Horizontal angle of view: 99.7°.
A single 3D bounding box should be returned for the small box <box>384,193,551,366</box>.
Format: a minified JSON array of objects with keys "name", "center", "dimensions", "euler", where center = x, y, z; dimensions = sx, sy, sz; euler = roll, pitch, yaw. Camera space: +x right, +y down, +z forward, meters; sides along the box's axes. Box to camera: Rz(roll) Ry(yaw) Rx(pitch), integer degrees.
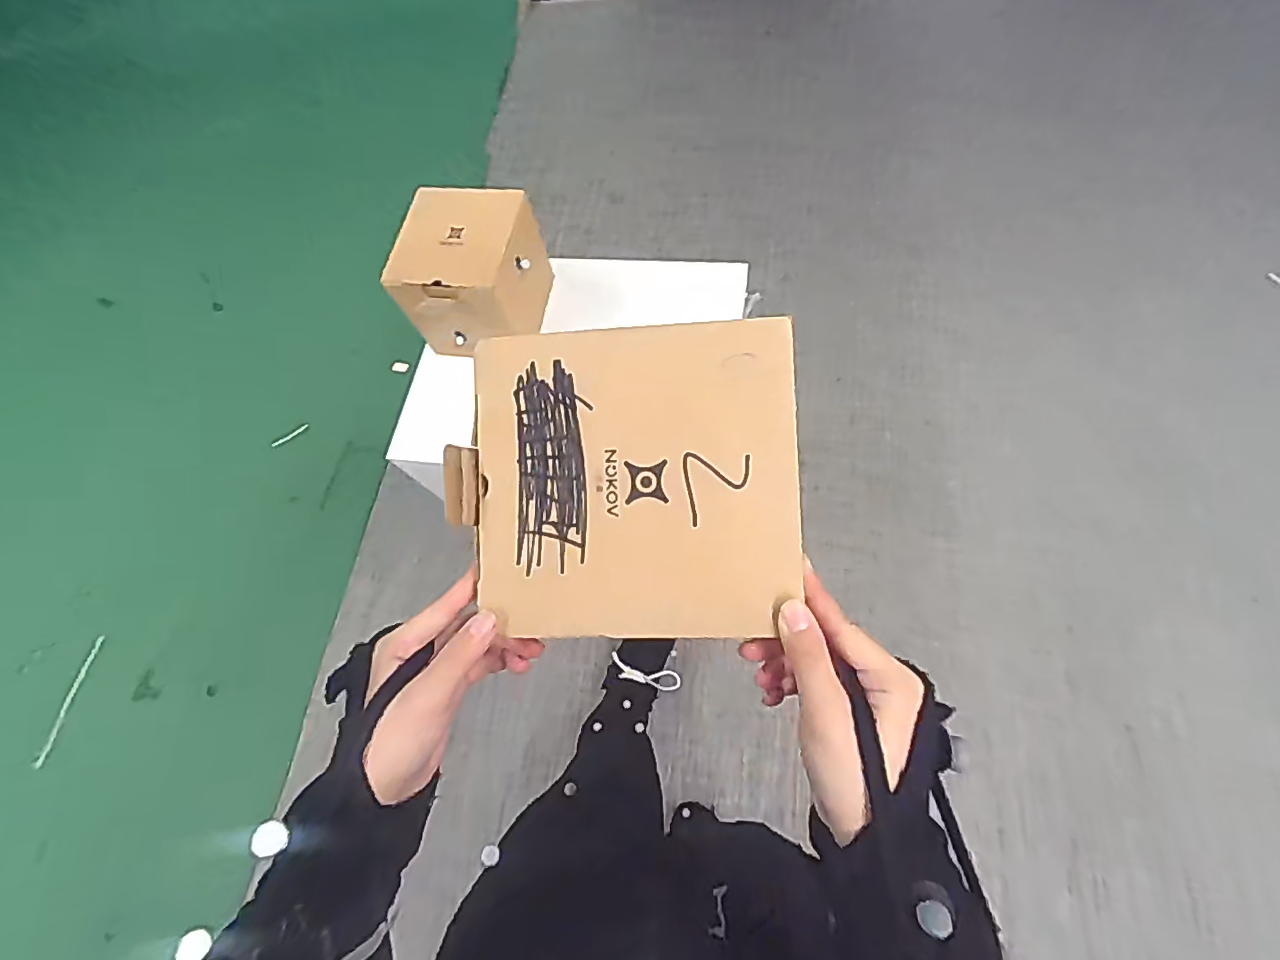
[{"name":"small box","center":[-0.244,-0.298,0.816],"dimensions":[0.168,0.176,0.179],"euler":[7,69,9]}]
